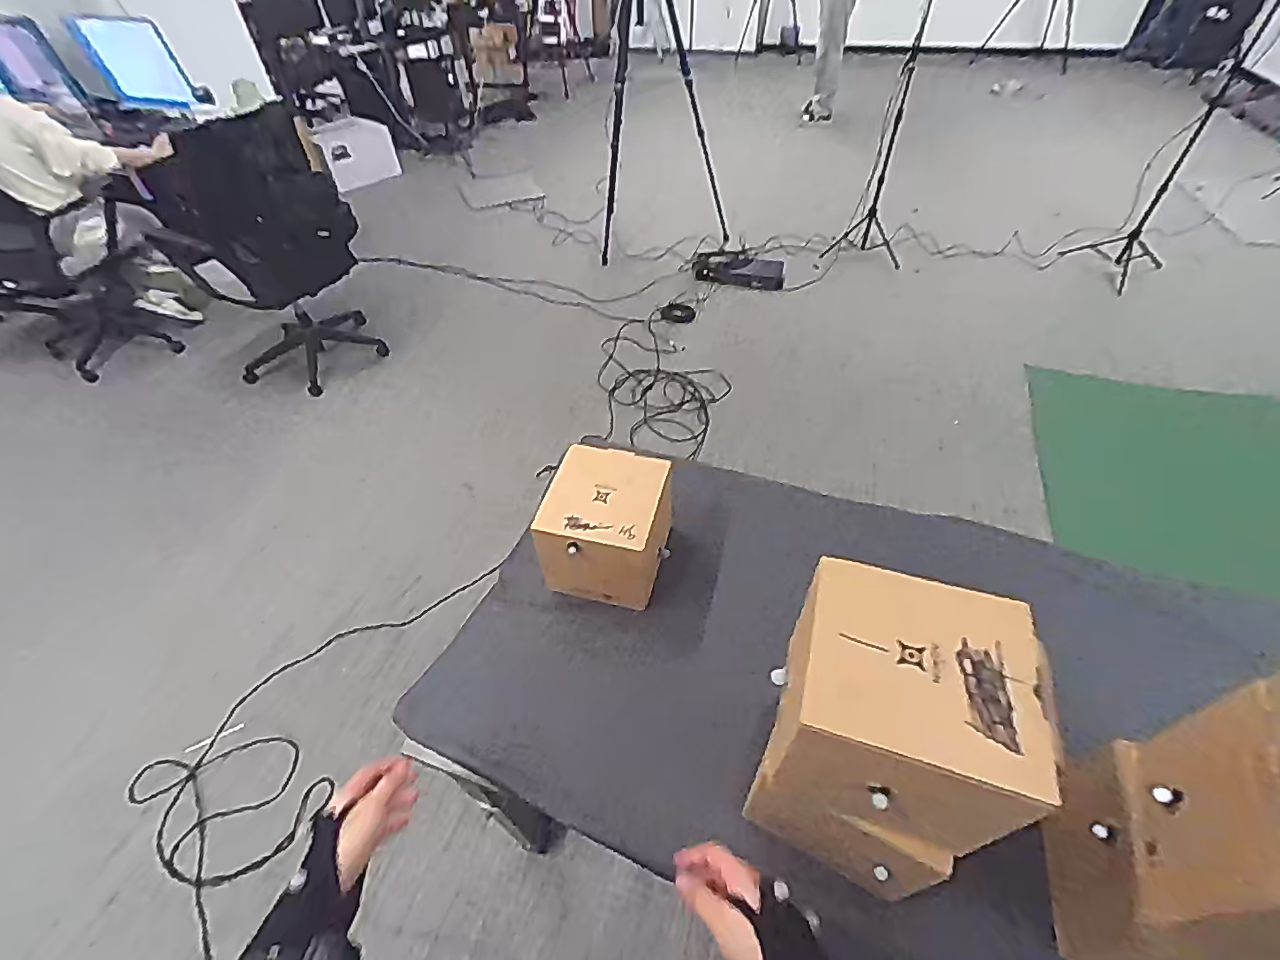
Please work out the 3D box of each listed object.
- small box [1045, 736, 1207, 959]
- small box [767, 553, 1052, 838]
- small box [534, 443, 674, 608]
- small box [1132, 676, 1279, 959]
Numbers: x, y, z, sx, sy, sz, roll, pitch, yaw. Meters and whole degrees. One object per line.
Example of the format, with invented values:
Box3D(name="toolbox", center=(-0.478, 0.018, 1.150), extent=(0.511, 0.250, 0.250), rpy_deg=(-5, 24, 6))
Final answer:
Box3D(name="small box", center=(0.530, 0.389, 0.525), extent=(0.168, 0.176, 0.179), rpy_deg=(13, 48, 16))
Box3D(name="small box", center=(0.226, 0.198, 0.493), extent=(0.179, 0.176, 0.168), rpy_deg=(13, 48, 15))
Box3D(name="small box", center=(-0.048, 0.071, 0.851), extent=(0.168, 0.176, 0.179), rpy_deg=(10, 49, 12))
Box3D(name="small box", center=(0.519, 0.286, 0.399), extent=(0.179, 0.176, 0.168), rpy_deg=(21, 50, 23))
